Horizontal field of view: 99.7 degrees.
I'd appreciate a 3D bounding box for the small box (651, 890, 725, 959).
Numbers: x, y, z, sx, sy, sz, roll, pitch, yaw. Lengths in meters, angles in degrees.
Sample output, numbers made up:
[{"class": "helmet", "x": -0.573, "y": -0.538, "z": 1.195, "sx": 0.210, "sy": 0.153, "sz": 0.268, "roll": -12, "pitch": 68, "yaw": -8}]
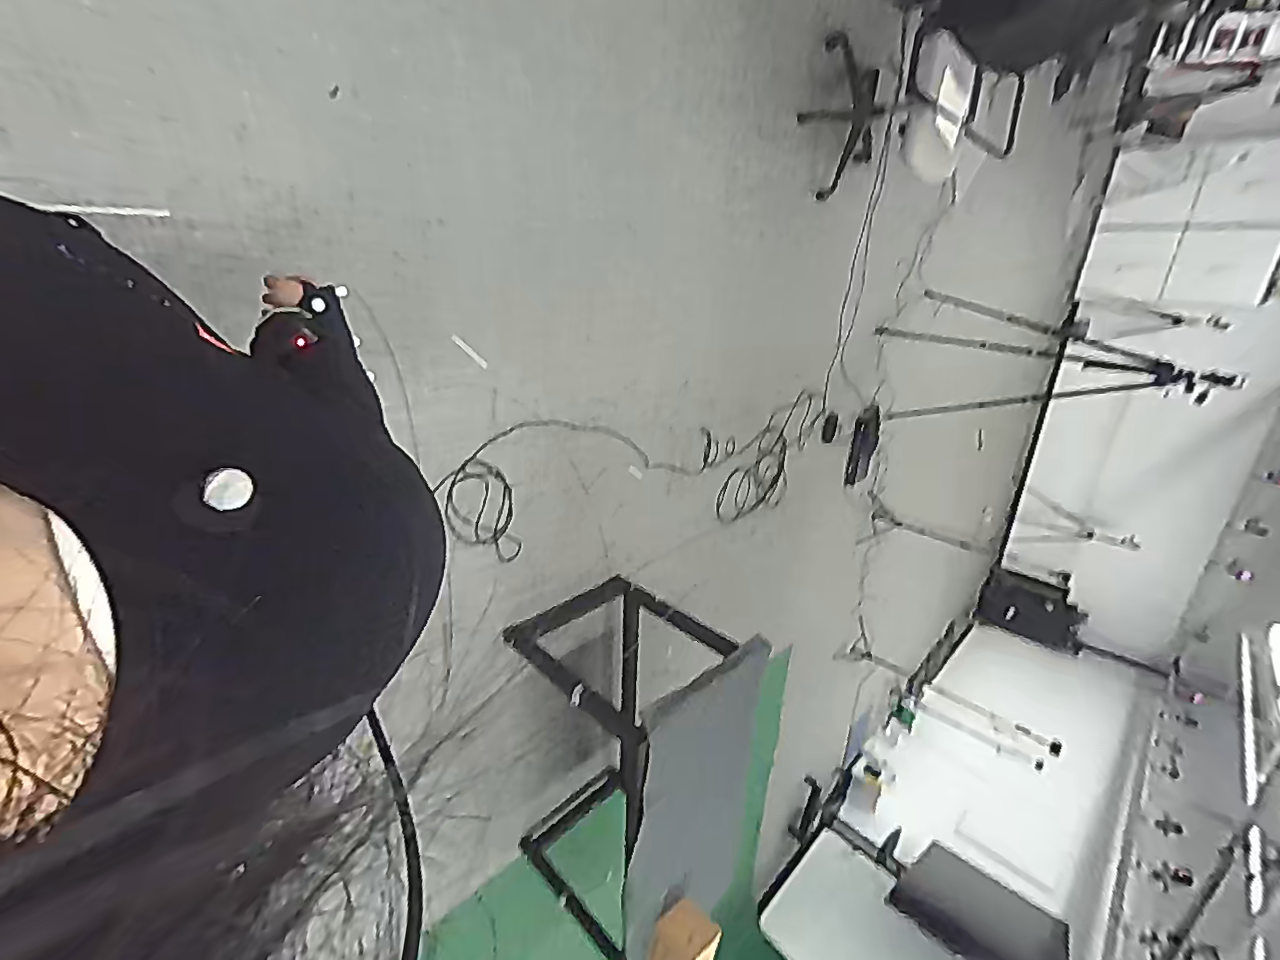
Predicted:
[{"class": "small box", "x": 0.166, "y": 1.597, "z": 1.885, "sx": 0.179, "sy": 0.176, "sz": 0.168, "roll": 8, "pitch": 100, "yaw": -50}]
